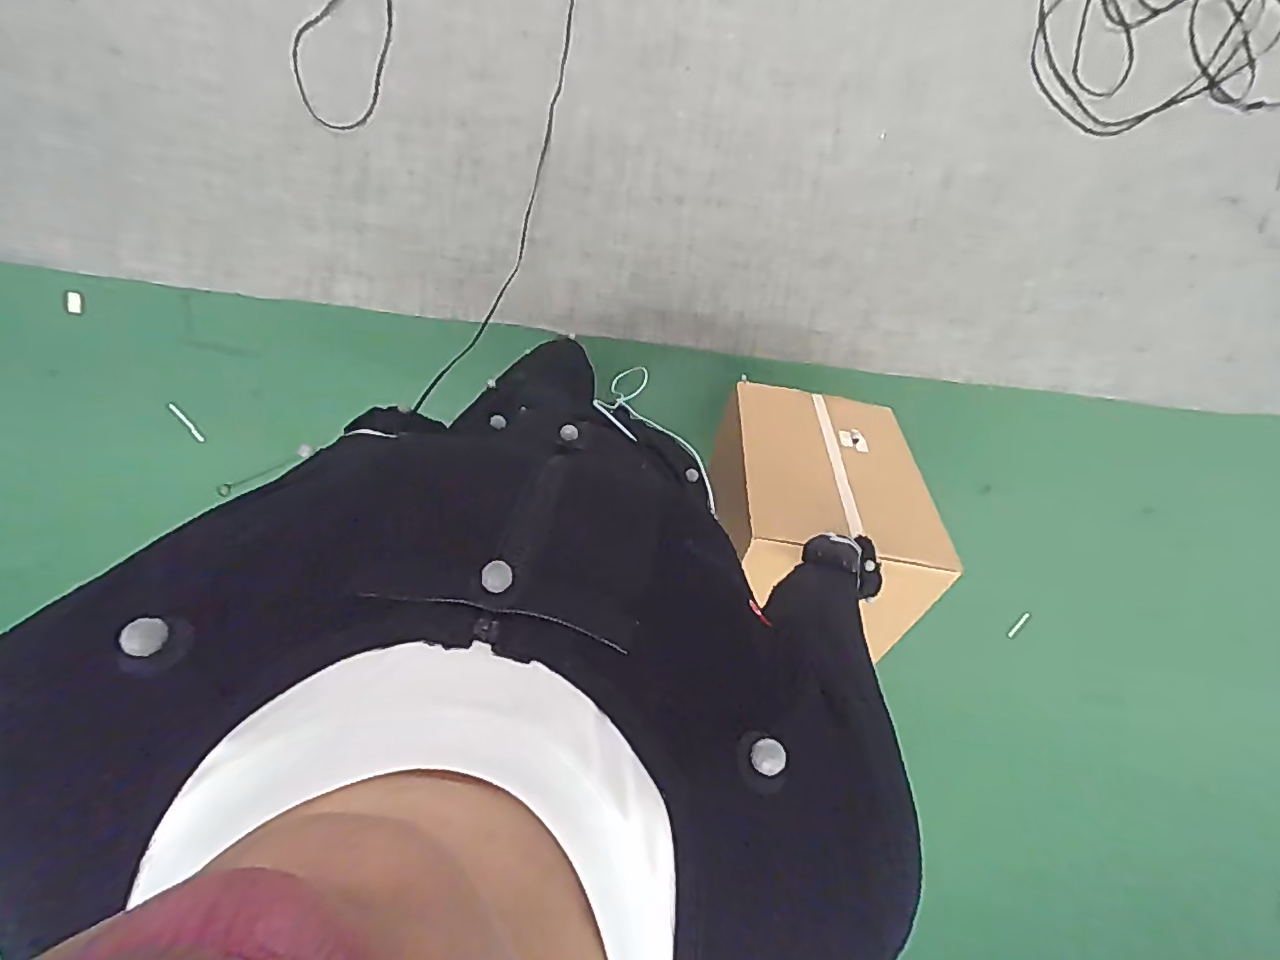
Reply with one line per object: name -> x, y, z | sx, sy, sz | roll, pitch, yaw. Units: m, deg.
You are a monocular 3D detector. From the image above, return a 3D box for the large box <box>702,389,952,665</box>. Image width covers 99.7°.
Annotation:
large box -> 0.301, 0.084, 1.028 | 0.320, 0.408, 0.320 | 10, 133, -3
